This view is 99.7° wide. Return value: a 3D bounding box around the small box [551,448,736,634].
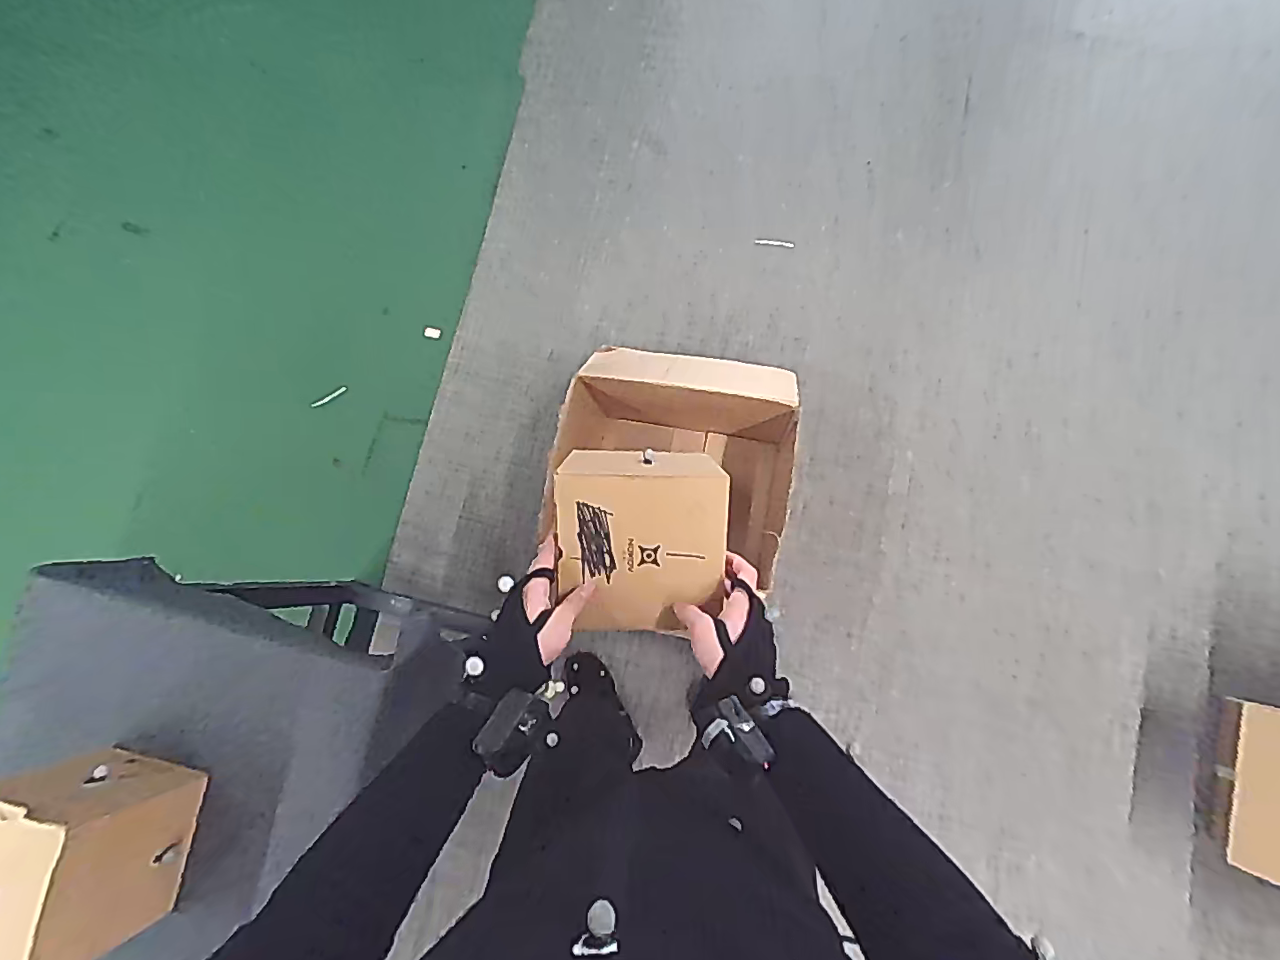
[{"bbox_3d":[0.002,0.059,0.627,0.179,0.176,0.168,5,102,-2],"label":"small box"}]
